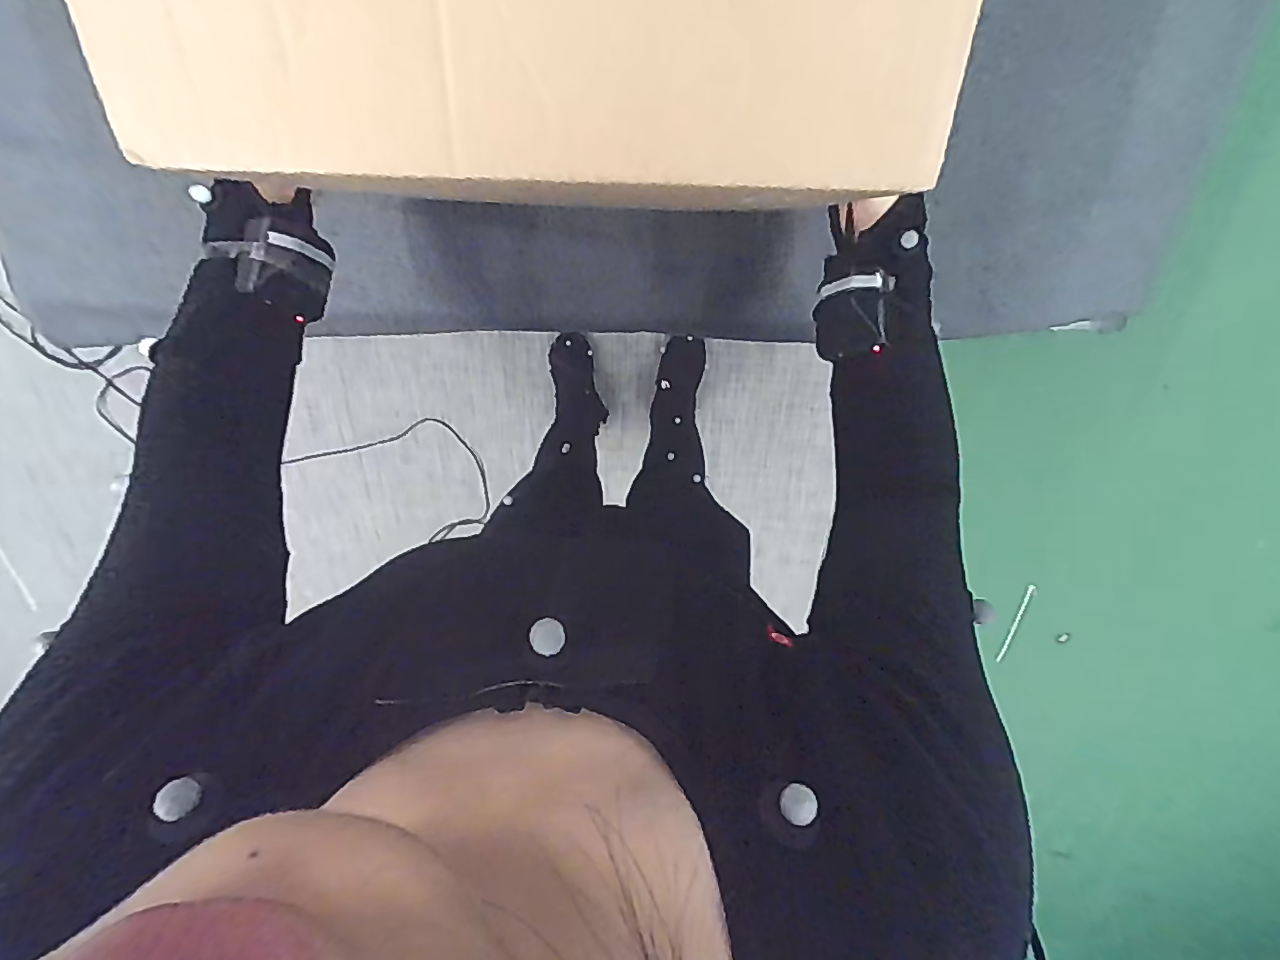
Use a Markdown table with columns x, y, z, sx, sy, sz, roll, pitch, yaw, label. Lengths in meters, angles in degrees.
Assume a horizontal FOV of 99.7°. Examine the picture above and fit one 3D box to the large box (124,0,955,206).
| x | y | z | sx | sy | sz | roll | pitch | yaw | label |
| --- | --- | --- | --- | --- | --- | --- | --- | --- | --- |
| -0.047 | -0.363 | 0.360 | 0.408 | 0.320 | 0.320 | 1 | 115 | 0 | large box |
